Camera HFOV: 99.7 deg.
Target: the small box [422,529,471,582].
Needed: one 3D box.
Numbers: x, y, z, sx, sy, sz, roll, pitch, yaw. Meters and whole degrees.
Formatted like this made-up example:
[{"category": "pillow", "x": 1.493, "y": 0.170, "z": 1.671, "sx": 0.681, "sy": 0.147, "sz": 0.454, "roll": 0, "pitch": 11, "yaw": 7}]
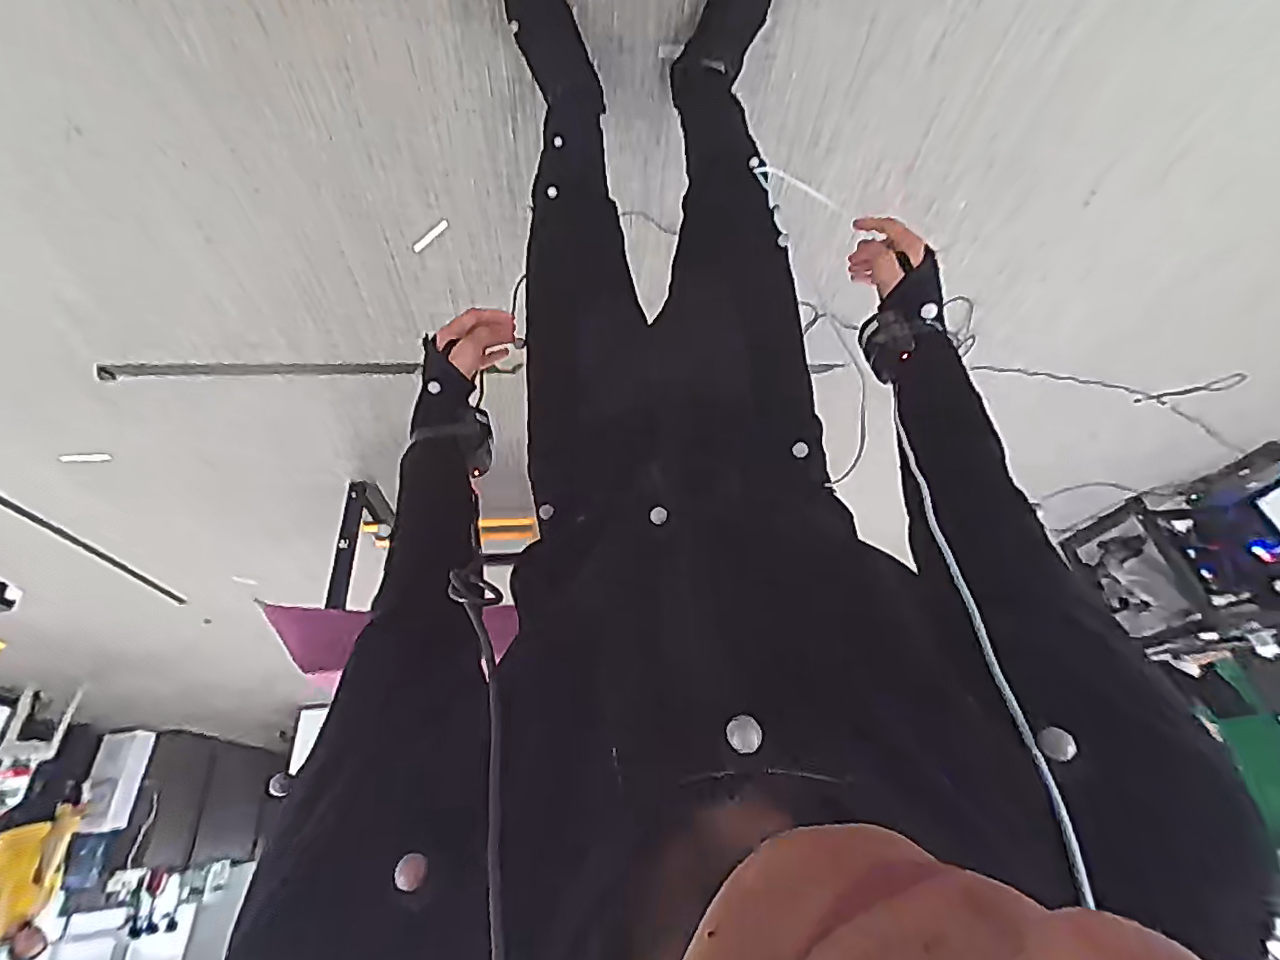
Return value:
[{"category": "small box", "x": -0.811, "y": 0.315, "z": 2.275, "sx": 0.168, "sy": 0.176, "sz": 0.179, "roll": -2, "pitch": 148, "yaw": -9}]
